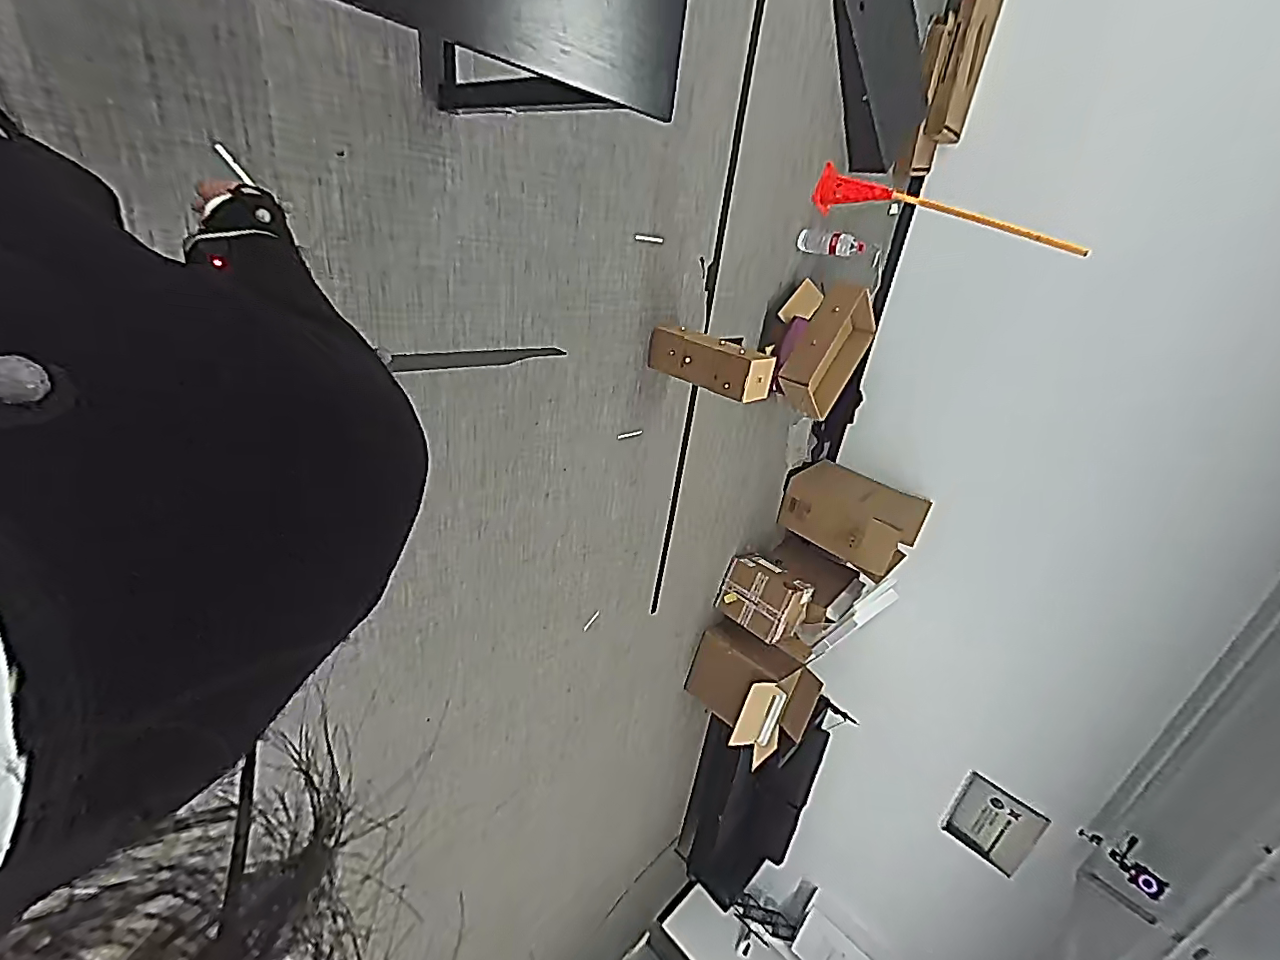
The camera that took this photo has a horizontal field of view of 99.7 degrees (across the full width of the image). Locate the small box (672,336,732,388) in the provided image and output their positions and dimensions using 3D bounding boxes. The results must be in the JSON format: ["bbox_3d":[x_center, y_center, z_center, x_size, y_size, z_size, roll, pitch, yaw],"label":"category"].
[{"bbox_3d":[0.257,-0.483,2.185,0.179,0.176,0.168,-17,125,-43],"label":"small box"}]

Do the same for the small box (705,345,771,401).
[{"bbox_3d":[0.374,-0.419,2.093,0.179,0.176,0.168,-19,128,-44],"label":"small box"}]

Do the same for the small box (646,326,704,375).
[{"bbox_3d":[0.144,-0.550,2.284,0.168,0.176,0.179,-17,126,-44],"label":"small box"}]
